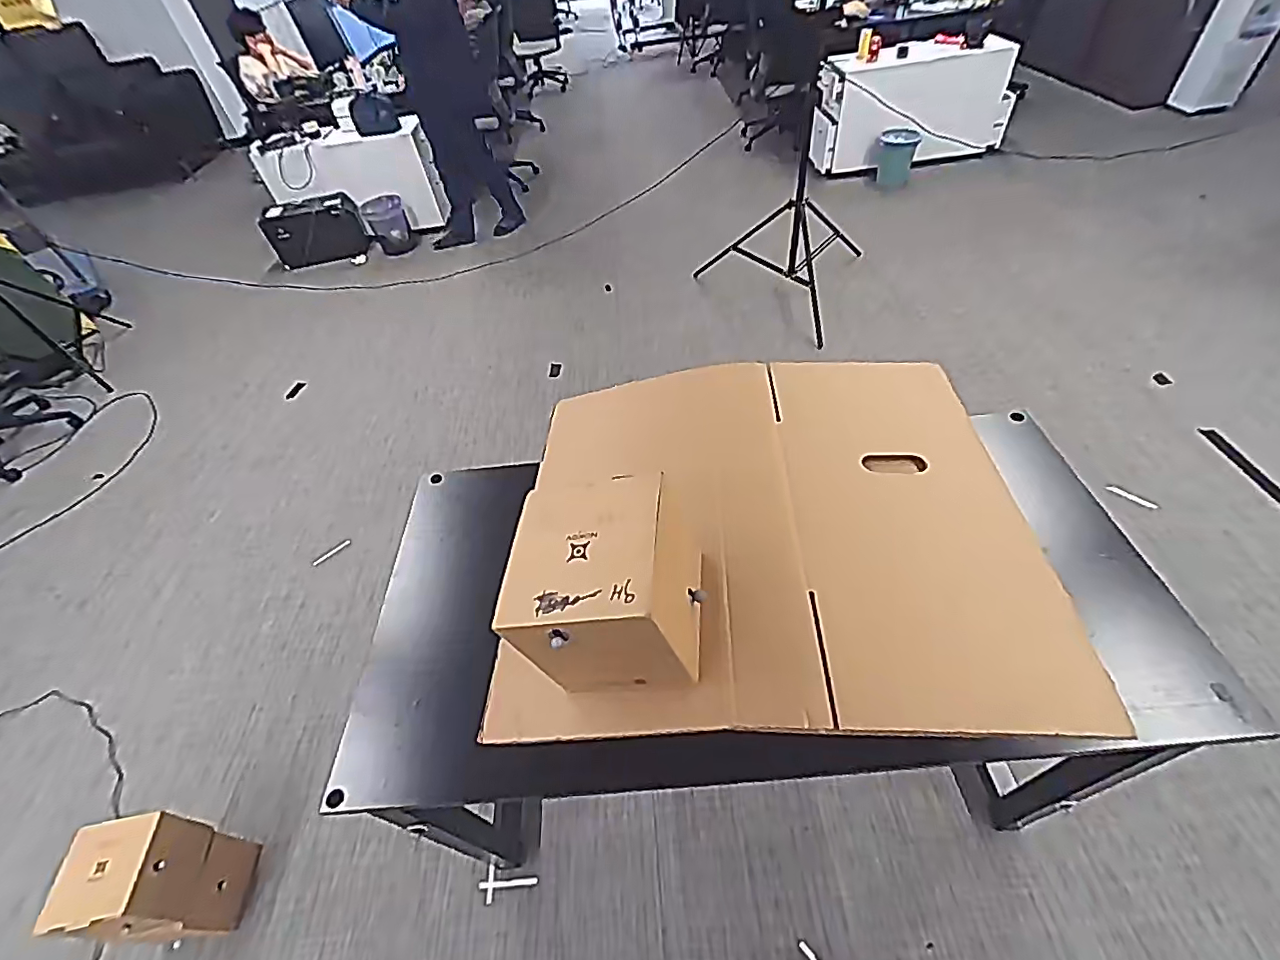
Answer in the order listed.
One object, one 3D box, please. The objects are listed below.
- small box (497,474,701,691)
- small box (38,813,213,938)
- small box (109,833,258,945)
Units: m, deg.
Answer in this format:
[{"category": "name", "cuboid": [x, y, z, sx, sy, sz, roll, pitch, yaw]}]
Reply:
[{"category": "small box", "cuboid": [-0.031, 0.121, 0.617, 0.168, 0.176, 0.179, -10, 46, 18]}, {"category": "small box", "cuboid": [-1.036, 0.817, 1.112, 0.168, 0.176, 0.179, -11, 46, -3]}, {"category": "small box", "cuboid": [-1.017, 0.929, 1.228, 0.168, 0.176, 0.179, -9, 48, 0]}]
